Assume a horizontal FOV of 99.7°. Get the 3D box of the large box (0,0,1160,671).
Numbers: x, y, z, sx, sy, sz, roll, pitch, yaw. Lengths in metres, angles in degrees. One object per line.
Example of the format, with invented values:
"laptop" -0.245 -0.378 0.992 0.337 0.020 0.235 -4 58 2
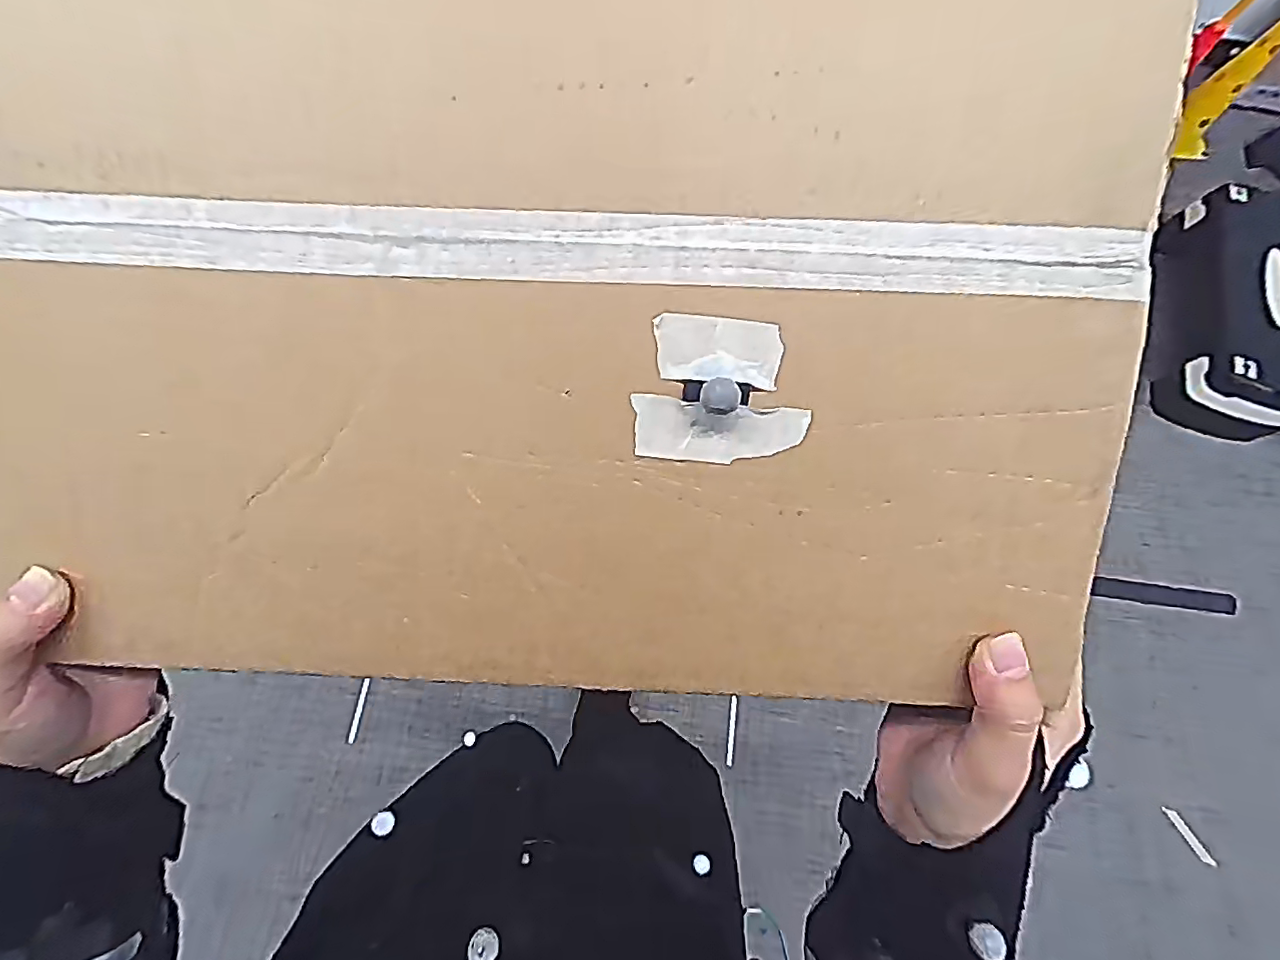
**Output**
"large box" -0.034 -0.102 0.337 0.408 0.320 0.320 2 100 0
